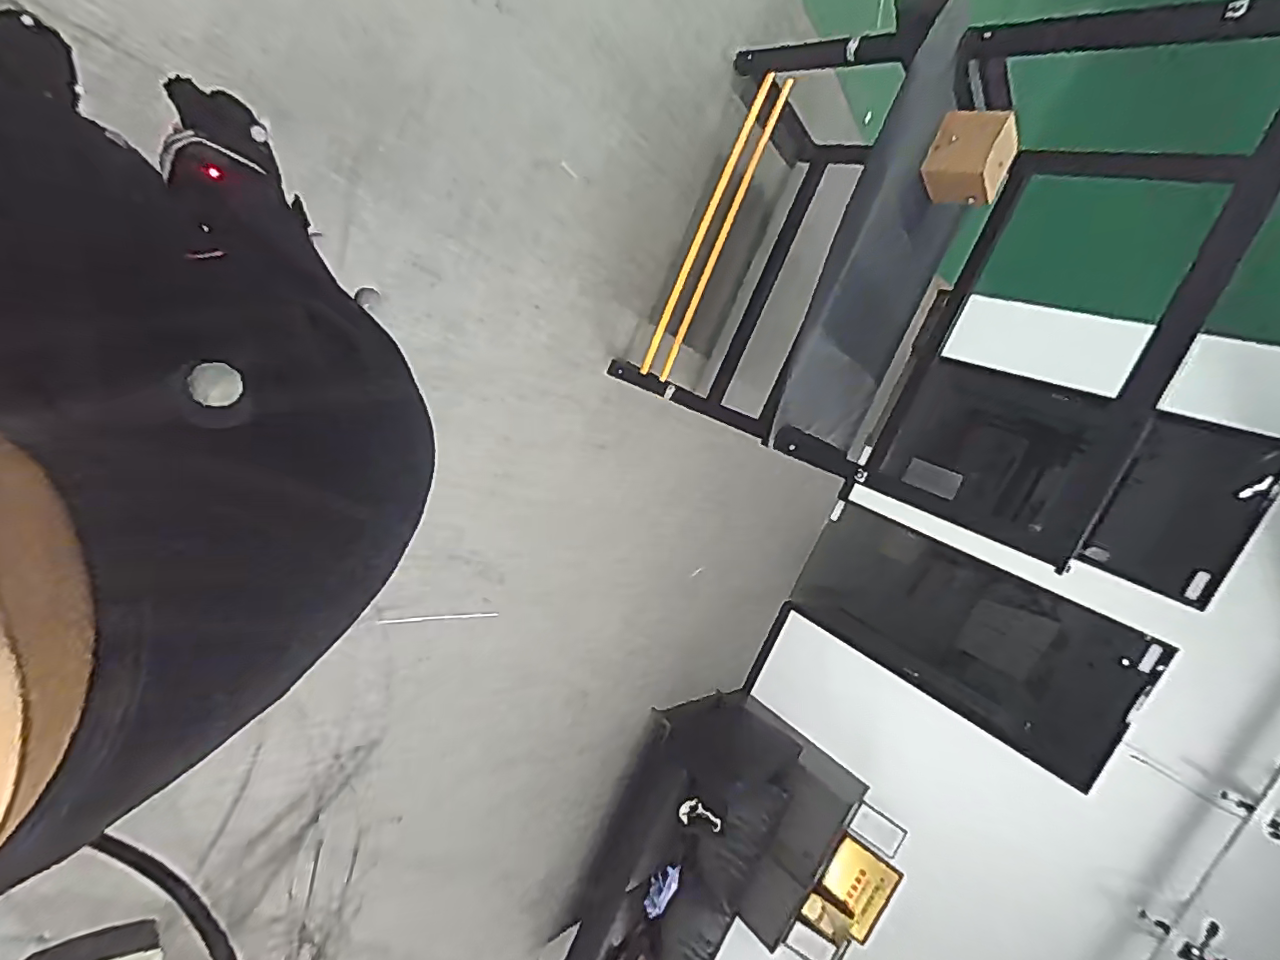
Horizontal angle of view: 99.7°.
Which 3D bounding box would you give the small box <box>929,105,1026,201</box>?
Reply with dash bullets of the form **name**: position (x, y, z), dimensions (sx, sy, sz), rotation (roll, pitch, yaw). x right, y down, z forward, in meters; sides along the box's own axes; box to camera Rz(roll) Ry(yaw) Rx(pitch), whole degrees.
- **small box**: position (0.941, -0.914, 1.510), dimensions (0.179, 0.176, 0.168), rotation (12, 104, -51)
